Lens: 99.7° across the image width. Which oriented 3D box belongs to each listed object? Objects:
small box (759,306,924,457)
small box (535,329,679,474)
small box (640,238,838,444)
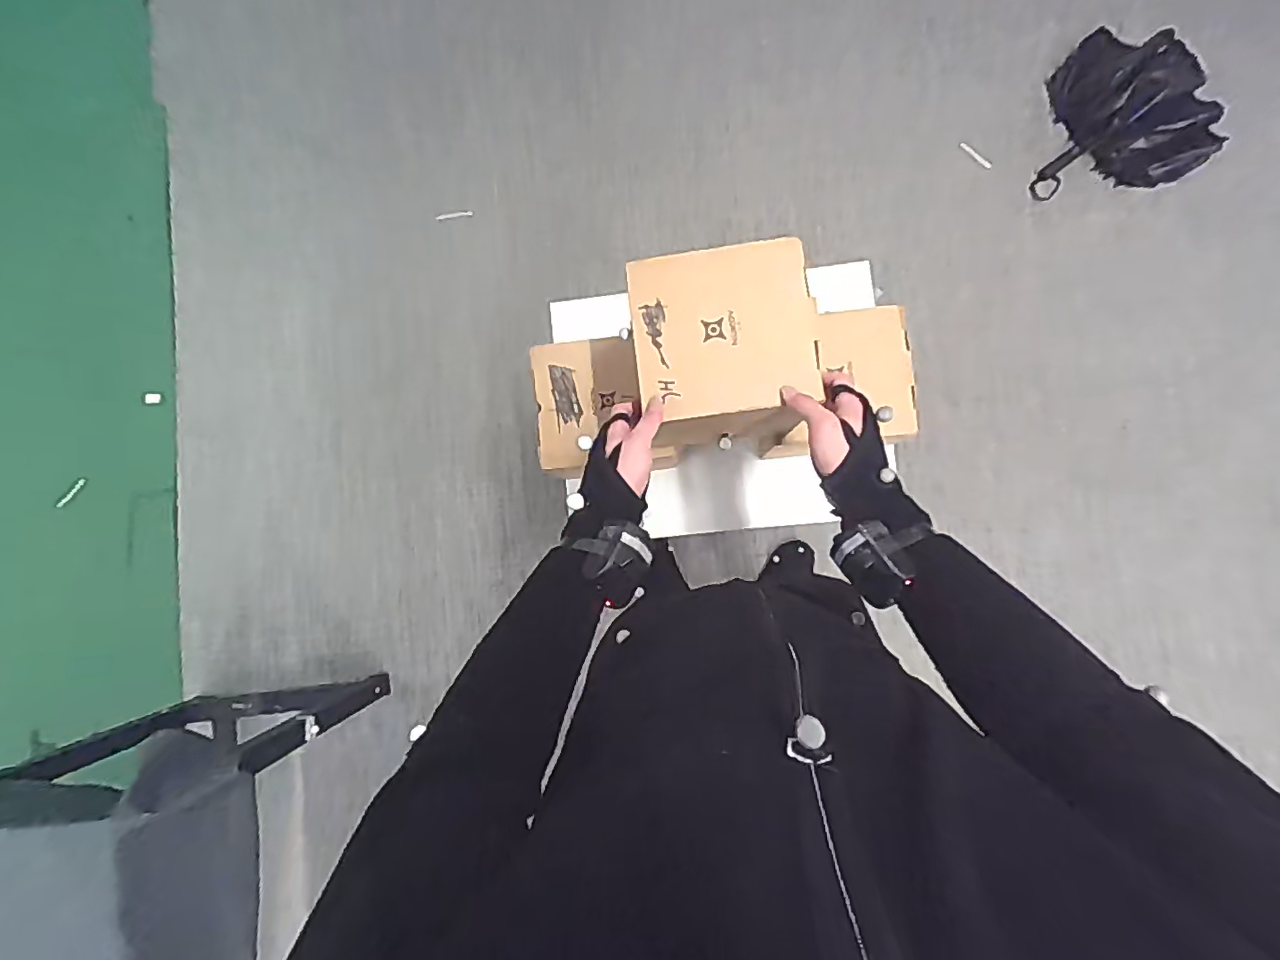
[{"bbox_3d":[0.260,-0.124,0.743,0.179,0.176,0.168,-4,86,5],"label":"small box"},{"bbox_3d":[-0.038,-0.101,0.760,0.179,0.176,0.168,-5,87,2],"label":"small box"},{"bbox_3d":[0.094,-0.137,0.590,0.179,0.176,0.168,-6,85,2],"label":"small box"}]
